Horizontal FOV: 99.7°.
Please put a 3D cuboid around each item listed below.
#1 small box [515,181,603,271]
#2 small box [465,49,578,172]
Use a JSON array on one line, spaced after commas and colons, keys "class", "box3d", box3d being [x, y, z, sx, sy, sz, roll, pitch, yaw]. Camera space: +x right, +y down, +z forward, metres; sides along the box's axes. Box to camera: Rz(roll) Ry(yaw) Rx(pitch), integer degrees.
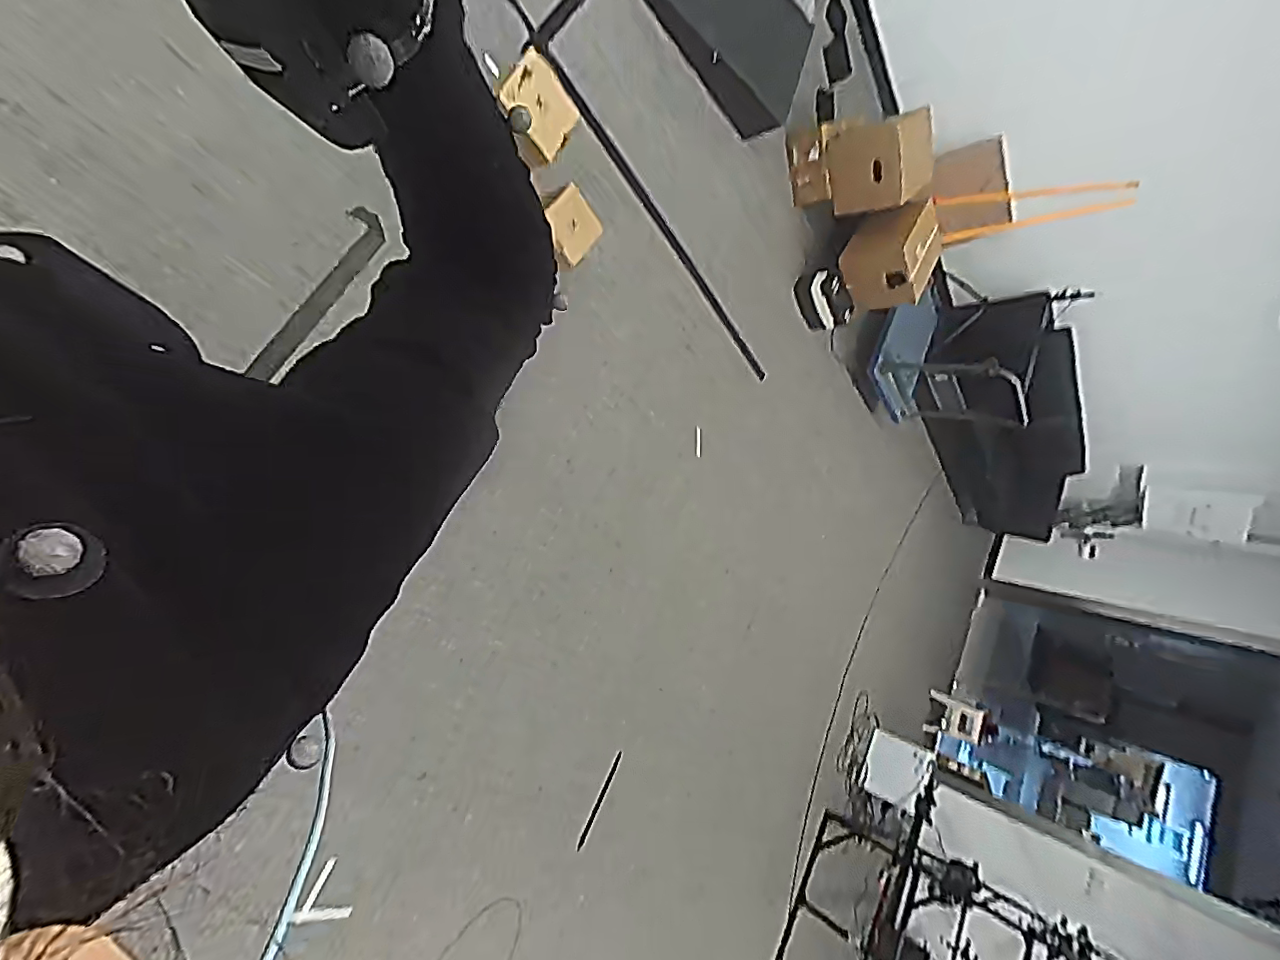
[{"class": "small box", "box3d": [-0.253, -0.760, 1.636, 0.168, 0.176, 0.179, 48, 63, -39]}, {"class": "small box", "box3d": [-0.293, -0.898, 1.336, 0.179, 0.176, 0.168, 39, 69, -42]}]
